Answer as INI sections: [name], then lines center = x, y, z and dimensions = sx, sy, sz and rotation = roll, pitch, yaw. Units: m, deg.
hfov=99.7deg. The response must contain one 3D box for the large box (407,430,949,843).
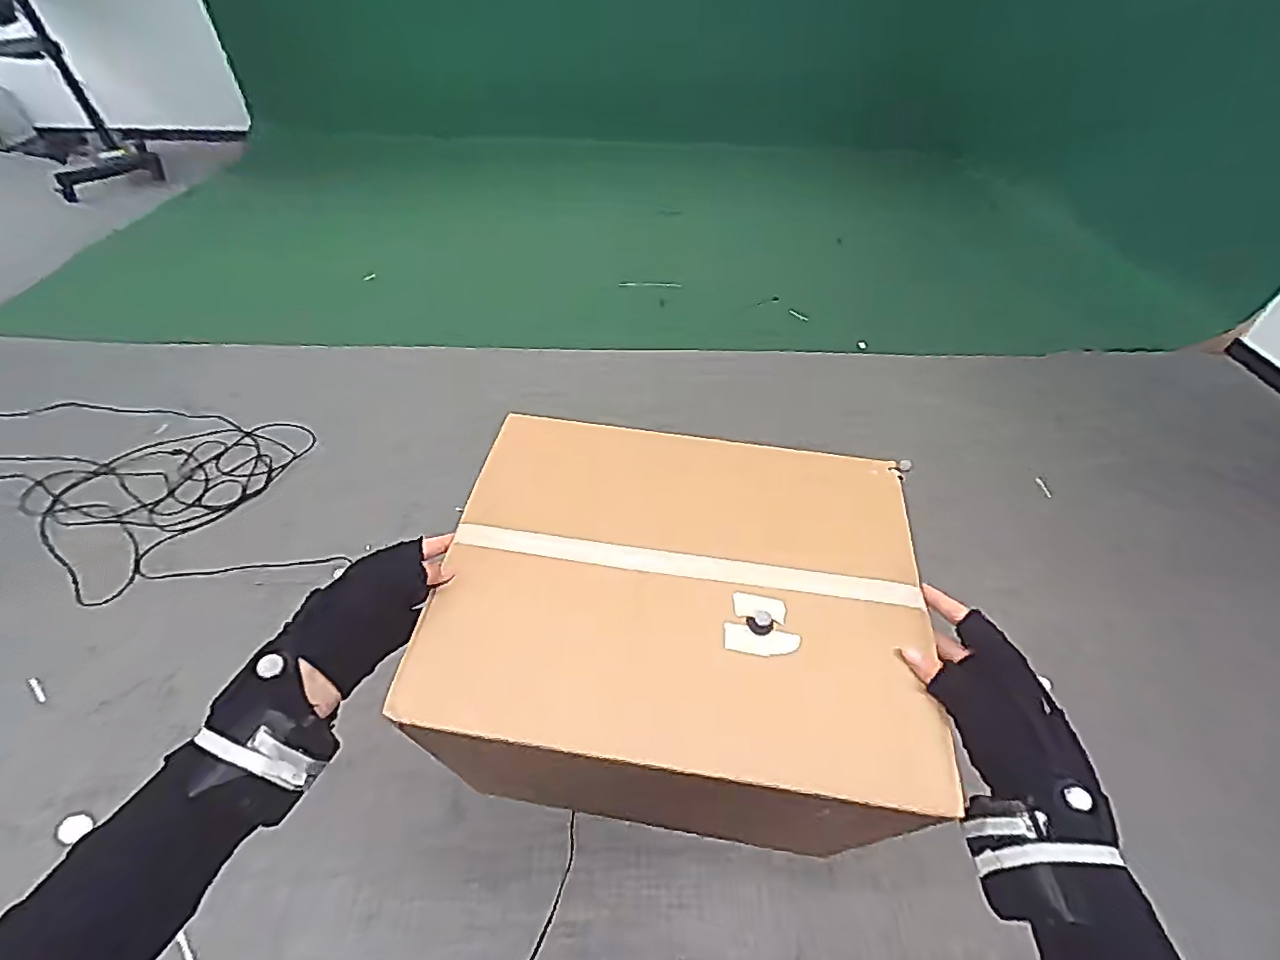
[large box]
center = 0.036, 0.175, 0.596
dimensions = 0.408, 0.320, 0.320
rotation = 7, 52, 4
